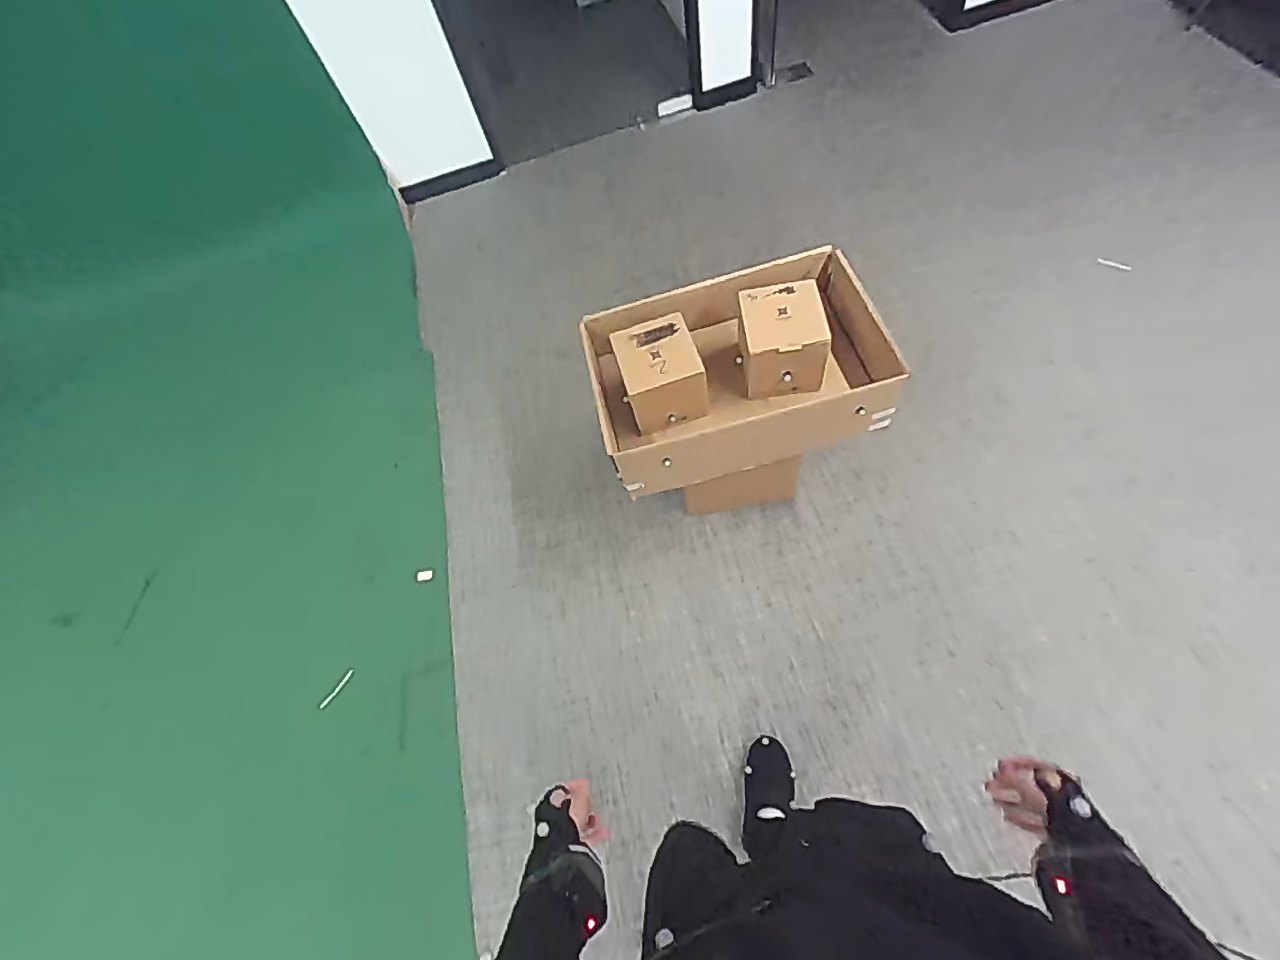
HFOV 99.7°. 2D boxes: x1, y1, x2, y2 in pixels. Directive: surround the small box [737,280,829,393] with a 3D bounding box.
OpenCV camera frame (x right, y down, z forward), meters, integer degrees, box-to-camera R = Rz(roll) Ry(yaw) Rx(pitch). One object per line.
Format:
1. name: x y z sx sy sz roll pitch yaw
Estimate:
1. small box: 0.306 -0.305 1.189 0.168 0.176 0.179 -6 63 6
